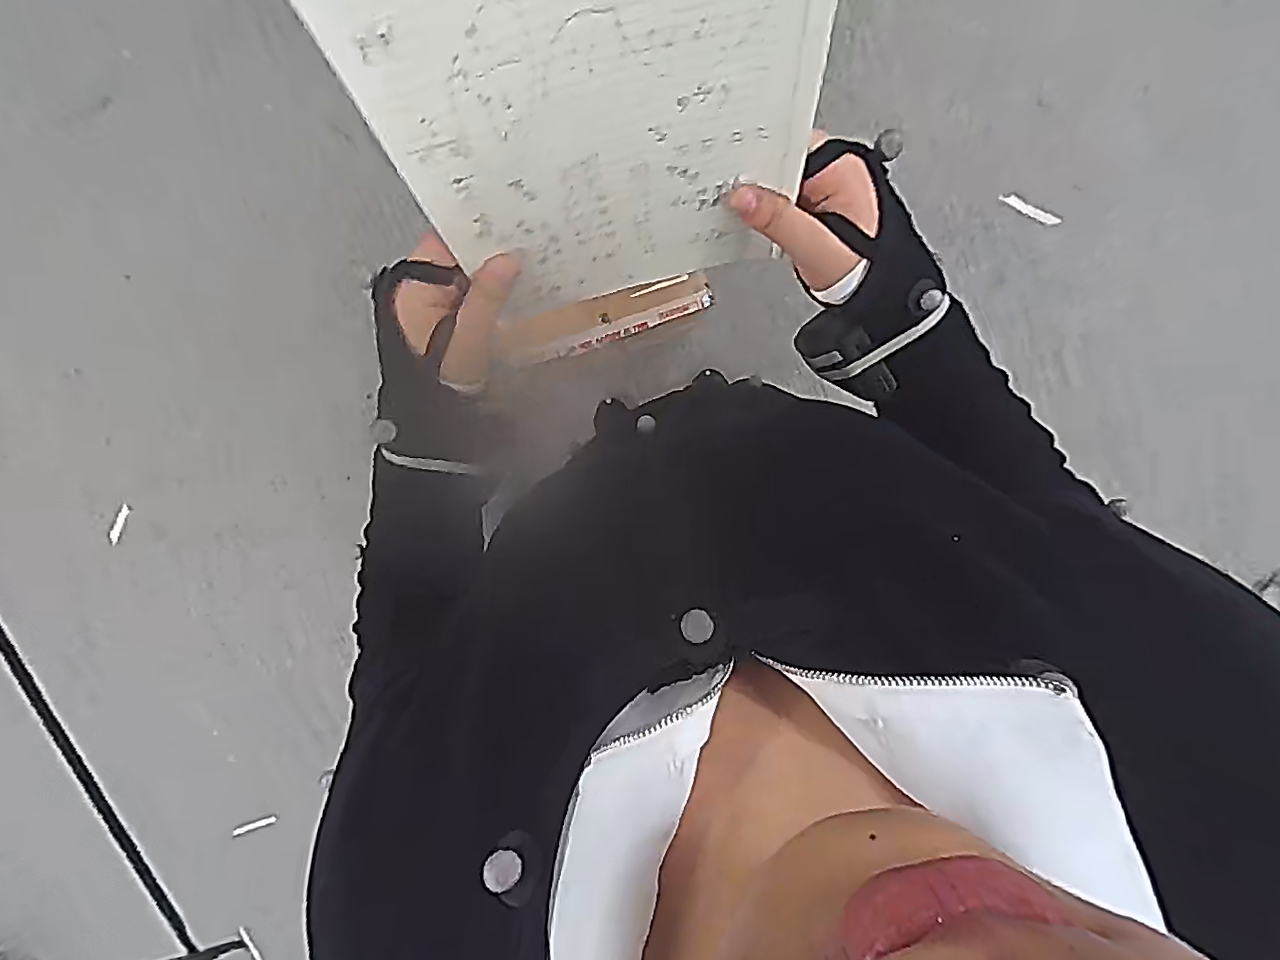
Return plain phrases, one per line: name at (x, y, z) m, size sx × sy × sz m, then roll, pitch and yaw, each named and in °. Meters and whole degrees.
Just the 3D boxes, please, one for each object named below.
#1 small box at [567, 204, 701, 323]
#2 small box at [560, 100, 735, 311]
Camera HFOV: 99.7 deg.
small box at (0.000, -0.367, 0.867) m, size 0.179 × 0.176 × 0.168 m, roll -23°, pitch 100°, yaw 3°
small box at (0.007, -0.338, 0.705) m, size 0.168 × 0.176 × 0.179 m, roll -19°, pitch 101°, yaw 2°
